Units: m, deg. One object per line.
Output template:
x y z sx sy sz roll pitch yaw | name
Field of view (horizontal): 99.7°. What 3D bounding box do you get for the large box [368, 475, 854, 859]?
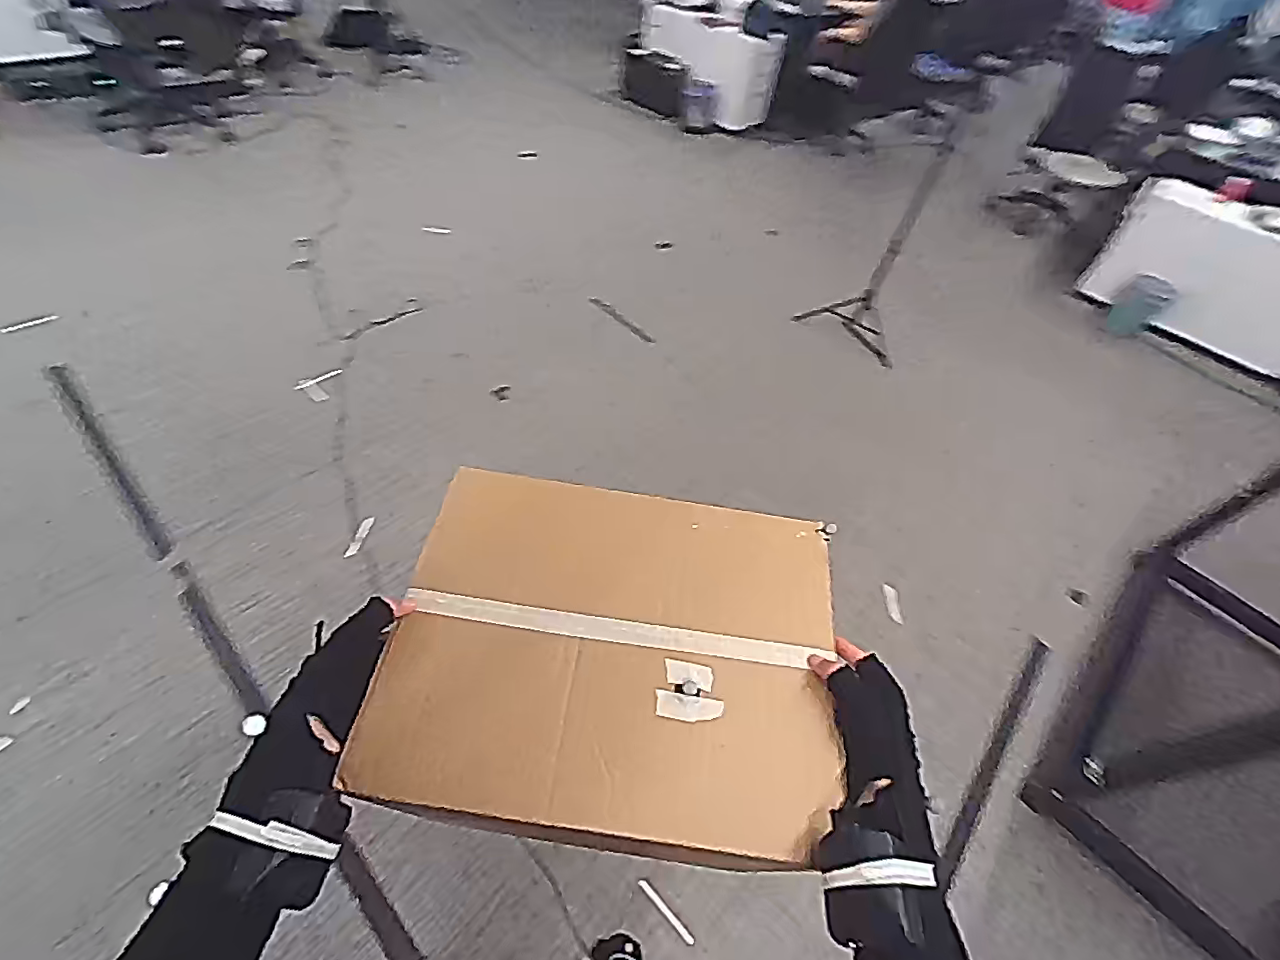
-0.022 0.231 0.636 0.408 0.320 0.320 10 55 -1 | large box
